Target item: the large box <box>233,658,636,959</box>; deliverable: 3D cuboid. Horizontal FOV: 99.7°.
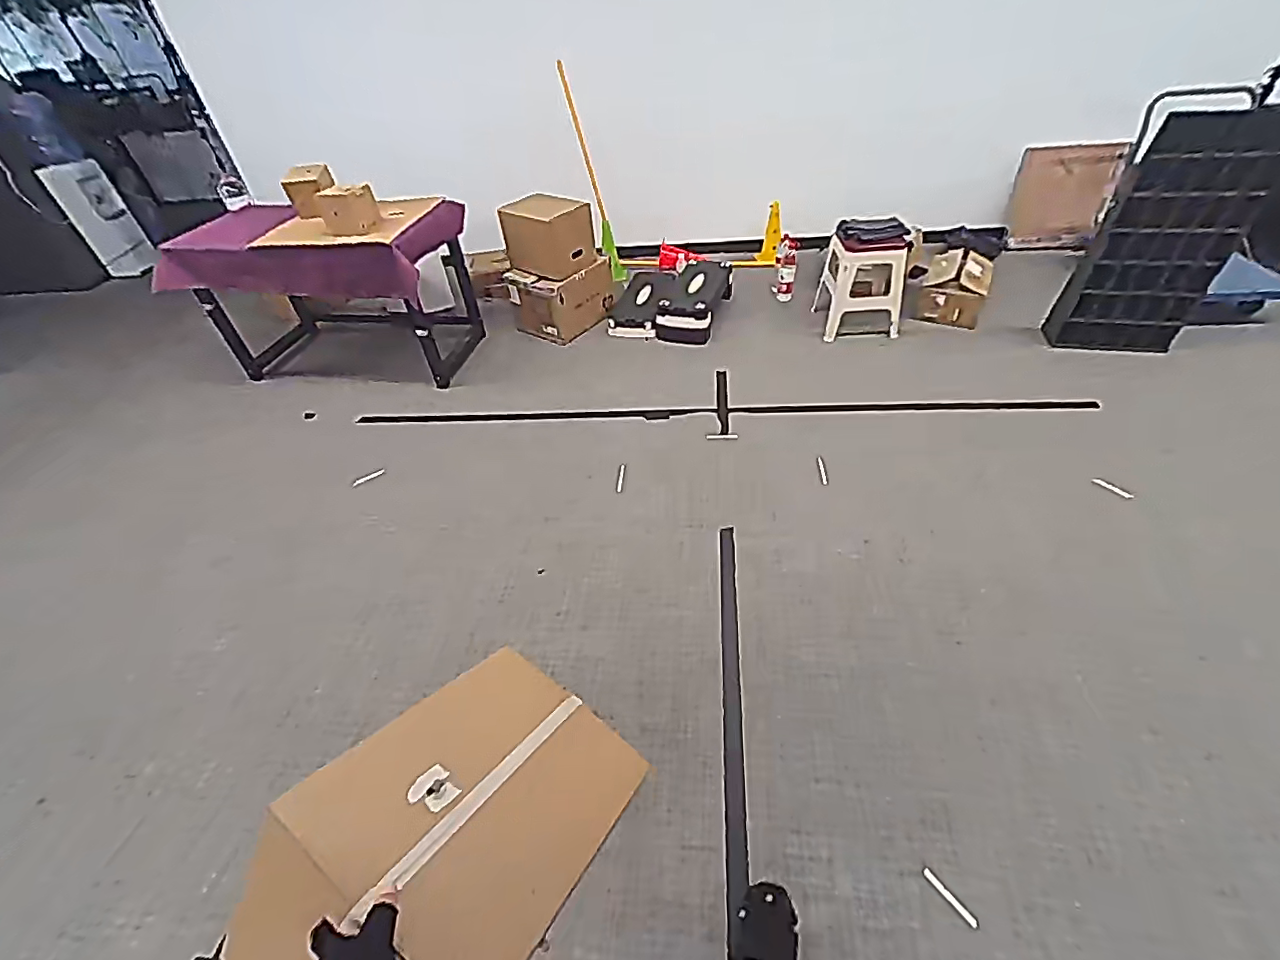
[{"bbox_3d":[-0.267,0.545,0.780,0.320,0.320,0.408,32,21,17],"label":"large box"}]
